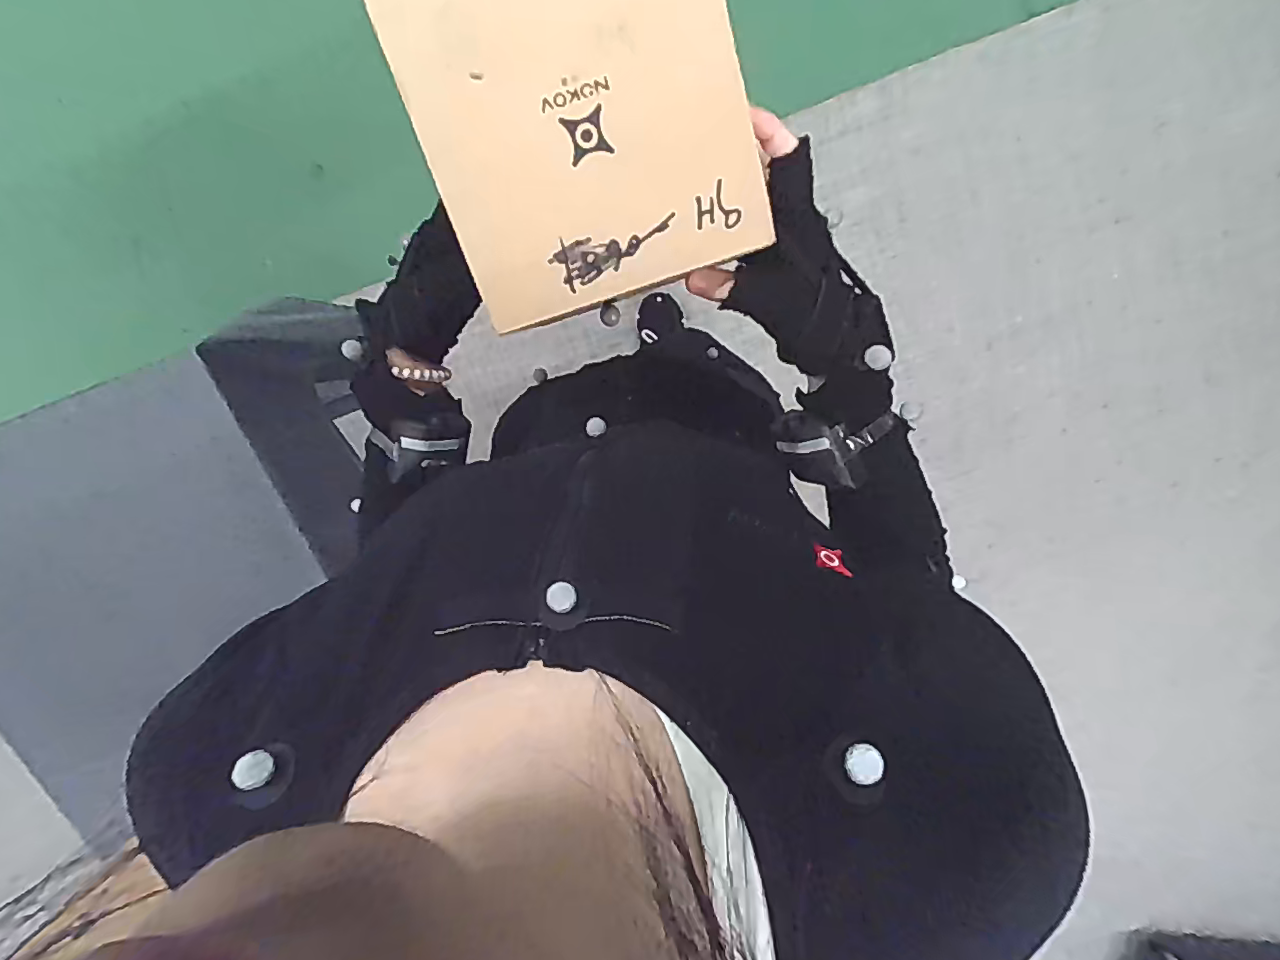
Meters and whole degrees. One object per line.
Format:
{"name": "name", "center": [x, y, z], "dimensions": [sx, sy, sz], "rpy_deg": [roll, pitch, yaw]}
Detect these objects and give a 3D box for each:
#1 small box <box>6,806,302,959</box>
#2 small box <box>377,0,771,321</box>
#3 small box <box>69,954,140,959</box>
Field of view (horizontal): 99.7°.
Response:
{"name": "small box", "center": [-0.558, 0.534, 0.641], "dimensions": [0.179, 0.176, 0.168], "rpy_deg": [-20, 103, 5]}
{"name": "small box", "center": [-0.034, -0.214, 0.357], "dimensions": [0.168, 0.176, 0.179], "rpy_deg": [-19, 106, 2]}
{"name": "small box", "center": [-0.557, 0.572, 0.481], "dimensions": [0.168, 0.176, 0.179], "rpy_deg": [-18, 103, 5]}
